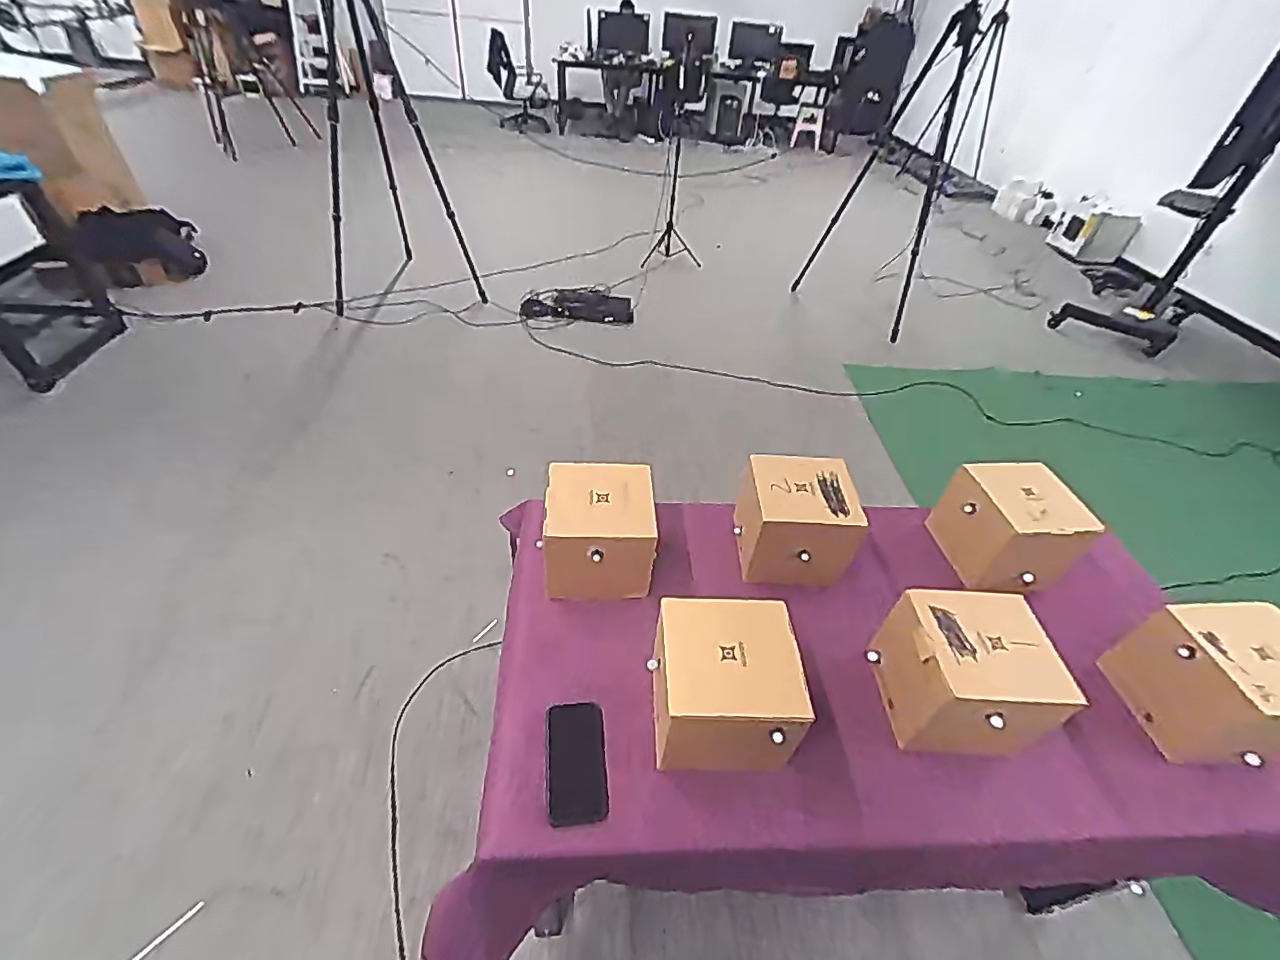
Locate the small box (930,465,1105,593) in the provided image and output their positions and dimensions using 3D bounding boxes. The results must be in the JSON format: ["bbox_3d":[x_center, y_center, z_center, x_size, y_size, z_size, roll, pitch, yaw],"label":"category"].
[{"bbox_3d":[0.681,0.091,1.005,0.168,0.176,0.179,-1,44,-6],"label":"small box"}]

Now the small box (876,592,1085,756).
[{"bbox_3d":[0.464,0.281,0.780,0.179,0.176,0.168,4,43,-3],"label":"small box"}]

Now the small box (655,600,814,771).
[{"bbox_3d":[0.113,0.284,0.742,0.179,0.176,0.168,3,42,-4],"label":"small box"}]

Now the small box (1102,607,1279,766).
[{"bbox_3d":[0.854,0.303,0.794,0.179,0.176,0.168,1,42,-5],"label":"small box"}]
